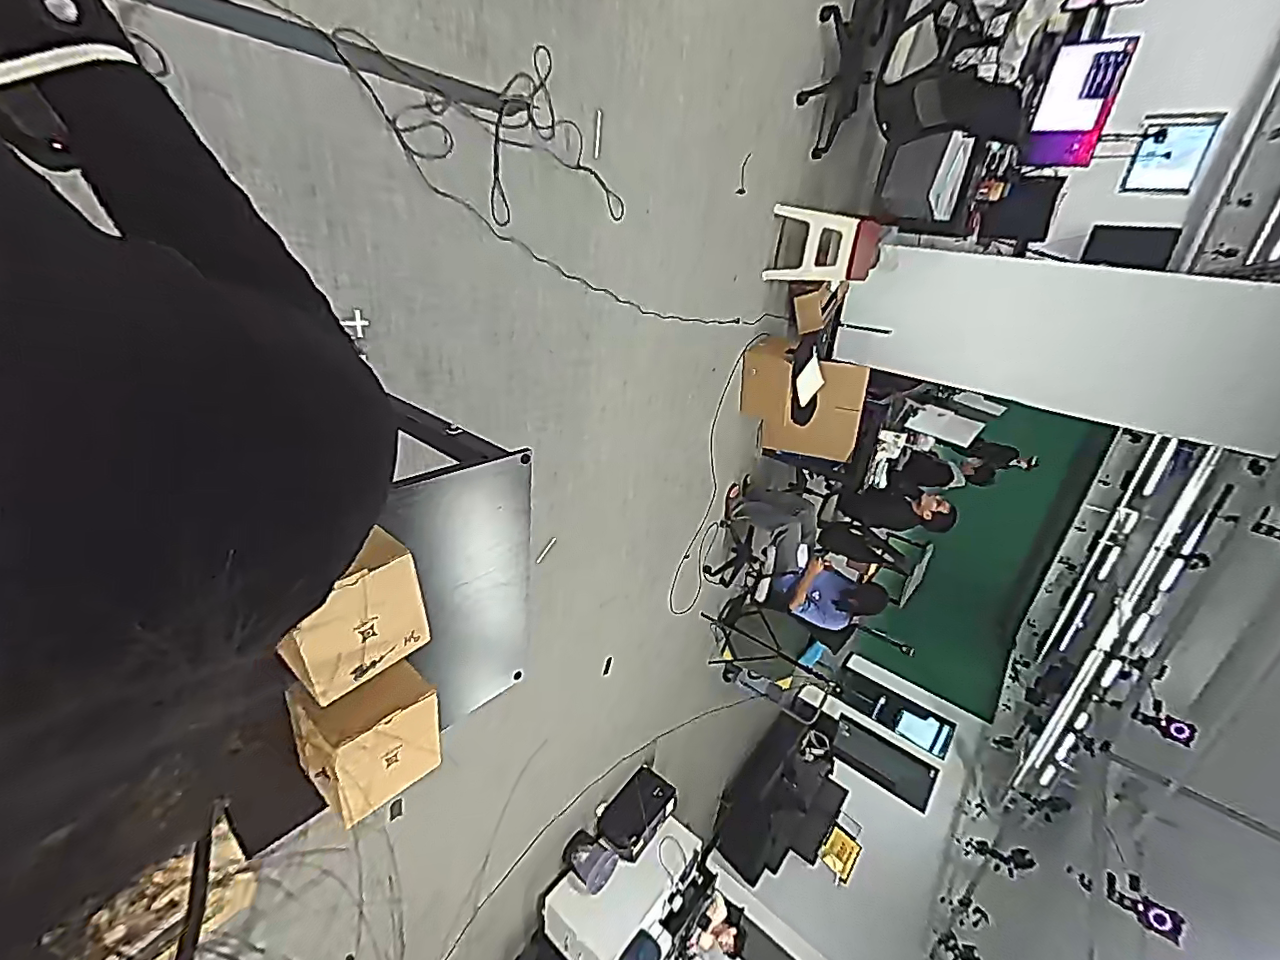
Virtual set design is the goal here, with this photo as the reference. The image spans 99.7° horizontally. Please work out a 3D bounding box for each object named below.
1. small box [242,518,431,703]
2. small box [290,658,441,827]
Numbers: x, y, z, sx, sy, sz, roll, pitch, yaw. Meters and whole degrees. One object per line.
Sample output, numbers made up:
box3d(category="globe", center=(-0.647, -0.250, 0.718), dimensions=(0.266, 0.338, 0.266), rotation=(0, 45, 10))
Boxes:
box3d(category="small box", center=(-0.435, 0.172, 0.783), dimensions=(0.168, 0.176, 0.179), rotation=(-30, 132, -42))
box3d(category="small box", center=(-0.455, 0.414, 0.904), dimensions=(0.168, 0.176, 0.179), rotation=(-22, 126, -47))
